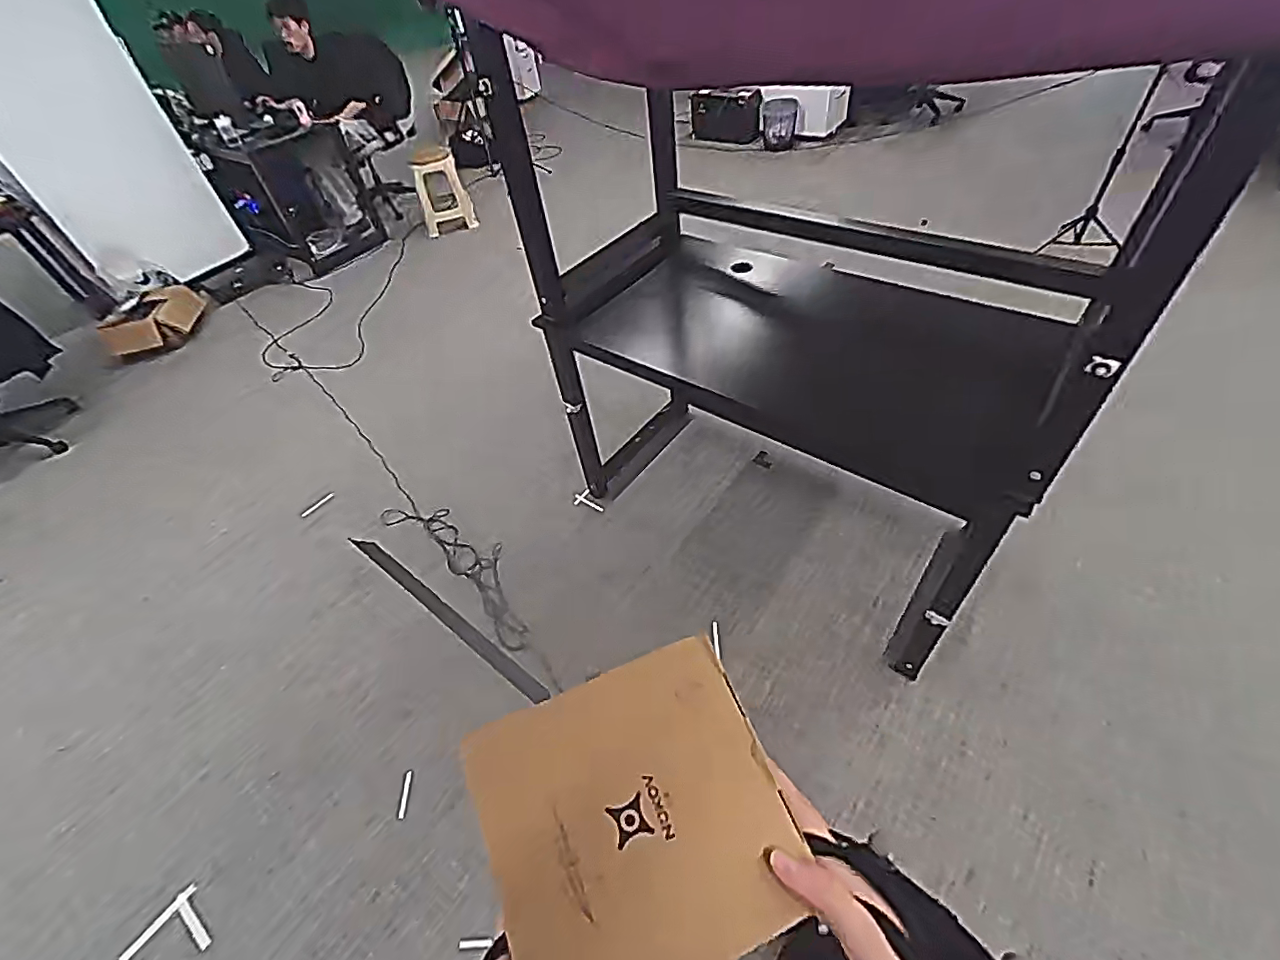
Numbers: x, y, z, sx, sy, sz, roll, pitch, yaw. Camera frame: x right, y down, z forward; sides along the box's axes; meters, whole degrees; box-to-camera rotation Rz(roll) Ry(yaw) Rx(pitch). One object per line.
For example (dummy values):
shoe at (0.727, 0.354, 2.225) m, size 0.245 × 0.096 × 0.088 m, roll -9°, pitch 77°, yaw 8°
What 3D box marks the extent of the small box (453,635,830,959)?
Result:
small box at (-0.006, 0.231, 0.382) m, size 0.179 × 0.176 × 0.168 m, roll -21°, pitch 65°, yaw -10°
